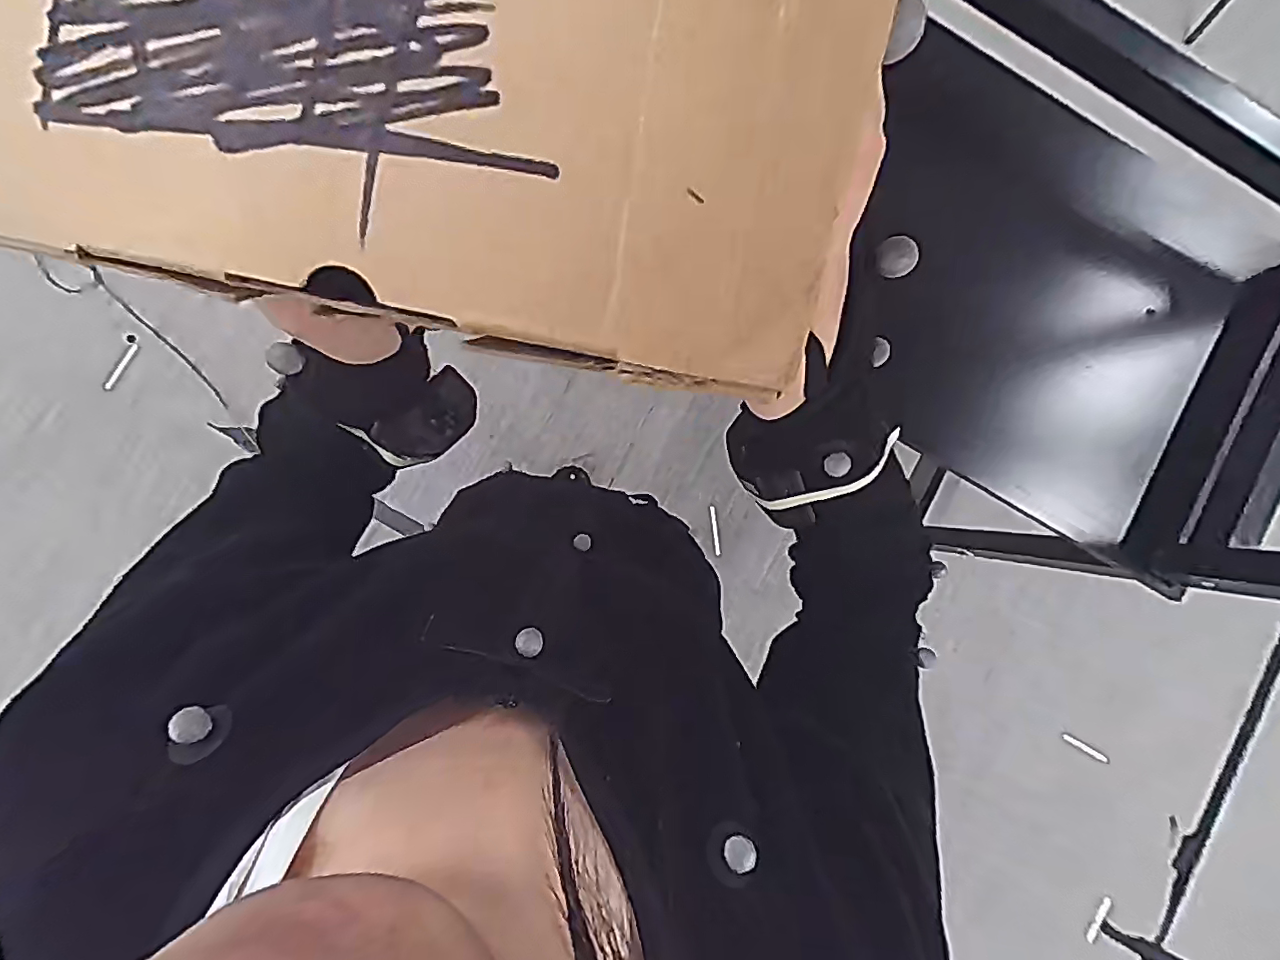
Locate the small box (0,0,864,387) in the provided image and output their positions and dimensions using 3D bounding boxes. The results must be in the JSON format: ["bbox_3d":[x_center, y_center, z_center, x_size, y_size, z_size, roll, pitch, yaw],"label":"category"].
[{"bbox_3d":[-0.030,-0.136,0.149,0.168,0.176,0.179,12,106,3],"label":"small box"}]
